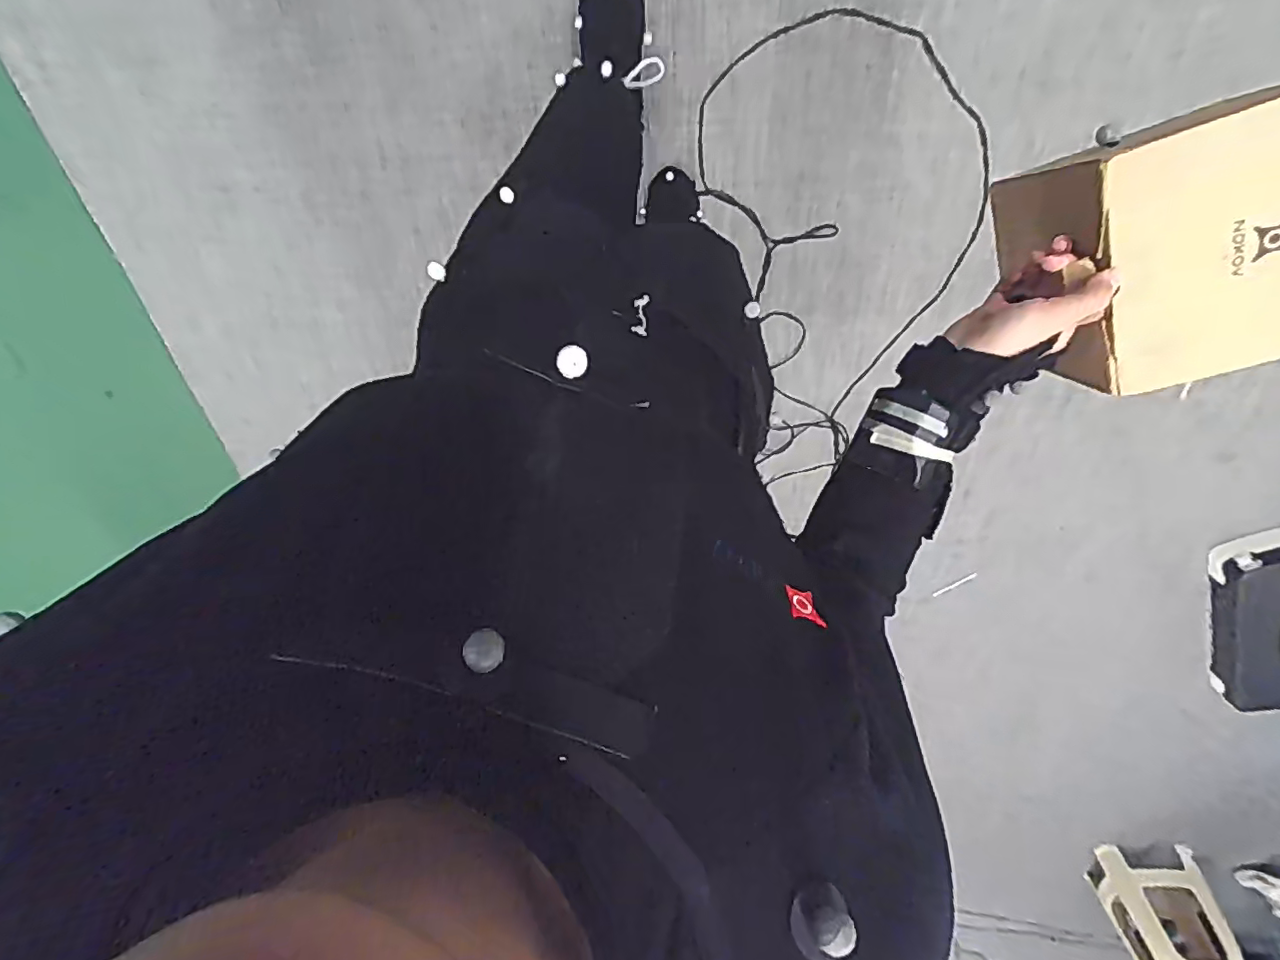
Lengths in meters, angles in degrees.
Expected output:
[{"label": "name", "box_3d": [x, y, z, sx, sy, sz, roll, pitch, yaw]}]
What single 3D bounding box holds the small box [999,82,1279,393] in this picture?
[{"label": "small box", "box_3d": [0.409, -0.185, 0.418, 0.179, 0.176, 0.168, -16, 110, 14]}]
